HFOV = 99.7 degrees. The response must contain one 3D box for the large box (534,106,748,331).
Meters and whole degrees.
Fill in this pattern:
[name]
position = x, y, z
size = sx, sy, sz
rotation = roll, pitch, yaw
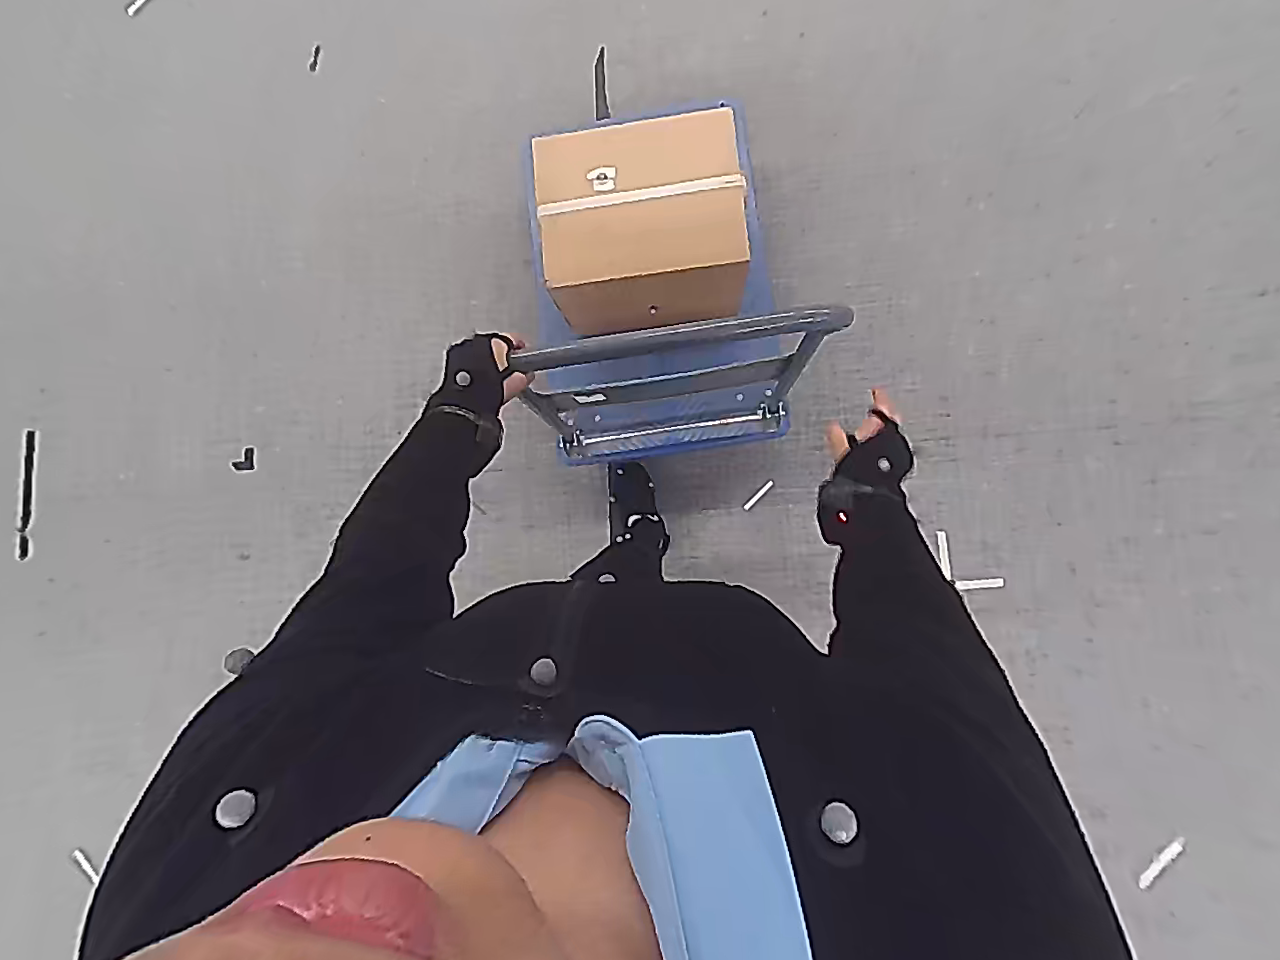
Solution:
[large box]
position = 0.012, -0.555, 1.219
size = 0.408, 0.320, 0.320
rotation = -6, 85, 5
